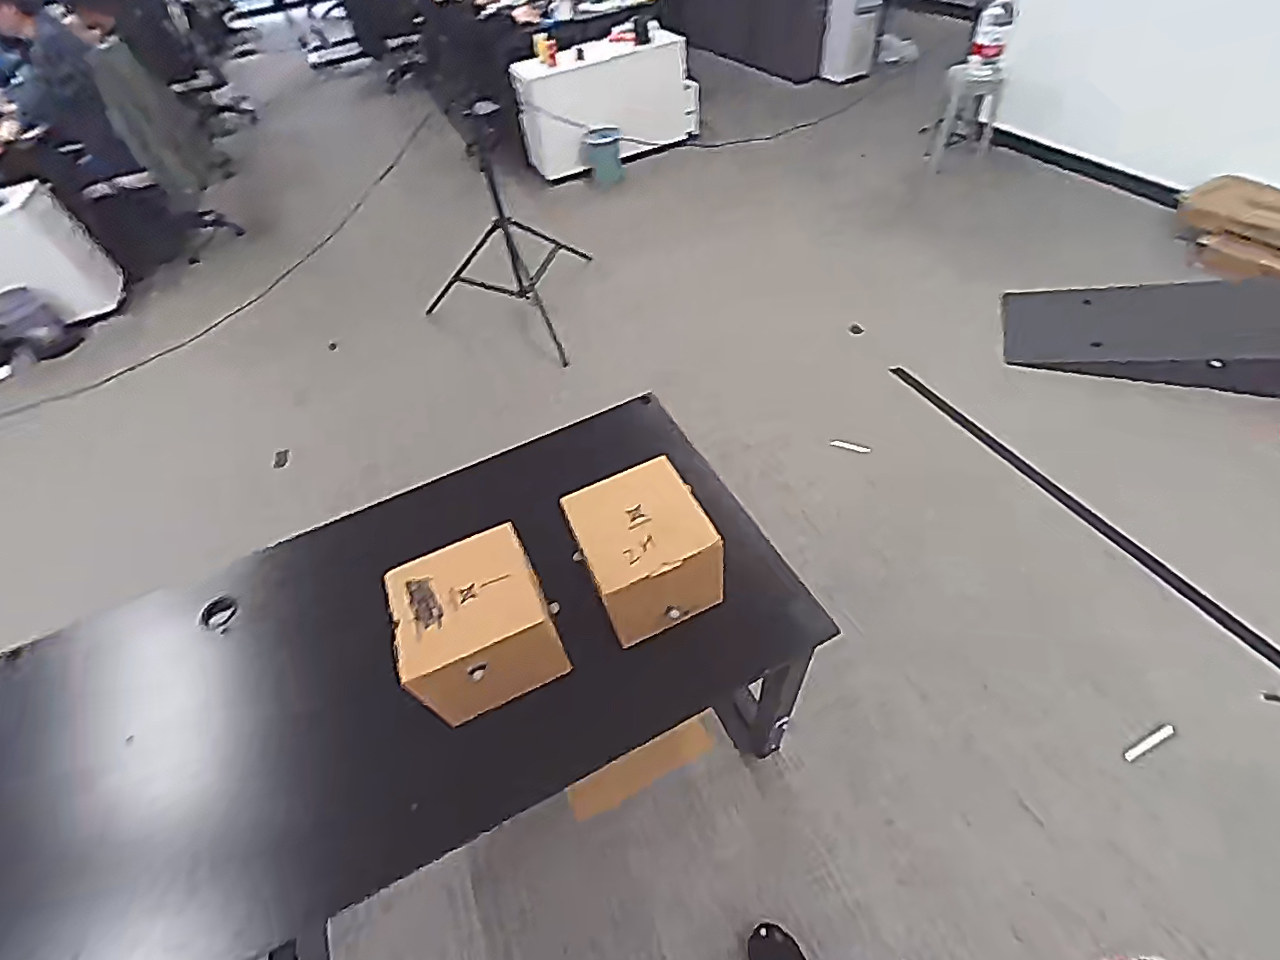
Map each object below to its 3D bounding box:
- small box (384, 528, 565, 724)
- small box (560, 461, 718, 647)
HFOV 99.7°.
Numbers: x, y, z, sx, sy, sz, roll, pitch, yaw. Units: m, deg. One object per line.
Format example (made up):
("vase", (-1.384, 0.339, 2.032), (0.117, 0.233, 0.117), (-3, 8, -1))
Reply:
("small box", (-0.221, 0.203, 0.741), (0.179, 0.176, 0.168), (-22, 51, -11))
("small box", (0.001, 0.109, 0.788), (0.168, 0.176, 0.179), (-23, 51, -10))
